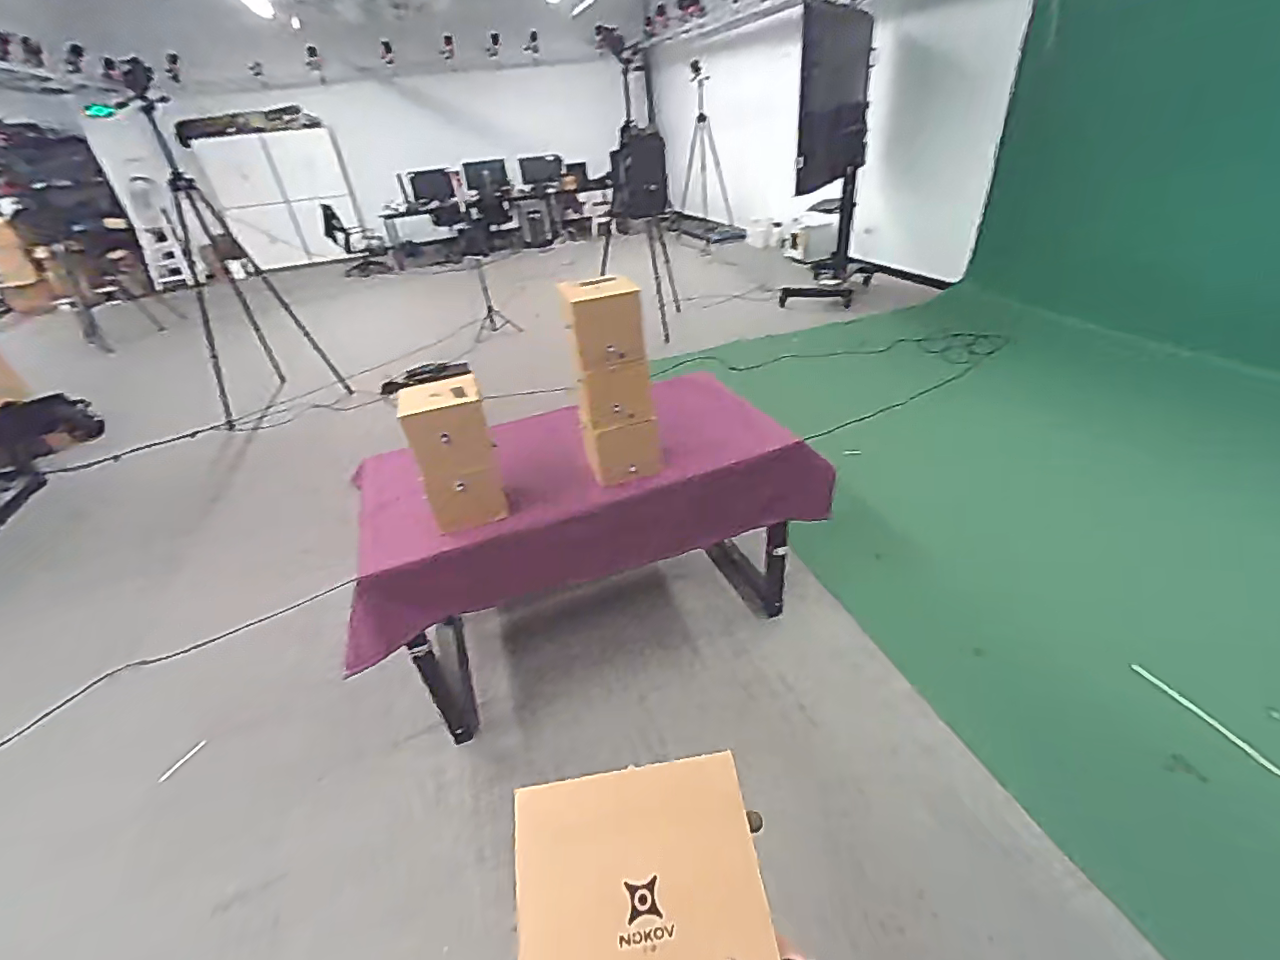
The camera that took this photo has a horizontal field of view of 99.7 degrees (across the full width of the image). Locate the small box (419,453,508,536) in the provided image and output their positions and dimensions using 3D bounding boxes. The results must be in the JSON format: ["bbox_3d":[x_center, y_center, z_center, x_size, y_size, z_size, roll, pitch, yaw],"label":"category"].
[{"bbox_3d":[-0.448,0.019,1.376,0.179,0.176,0.168,-14,35,-13],"label":"small box"}]

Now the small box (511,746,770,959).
[{"bbox_3d":[-0.003,0.332,0.424,0.168,0.176,0.179,-8,54,-5],"label":"small box"}]

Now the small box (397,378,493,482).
[{"bbox_3d":[-0.458,-0.120,1.289,0.179,0.176,0.168,-16,35,-12],"label":"small box"}]

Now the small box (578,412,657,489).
[{"bbox_3d":[-0.059,-0.100,1.487,0.179,0.176,0.168,-15,34,-14],"label":"small box"}]

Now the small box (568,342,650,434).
[{"bbox_3d":[-0.080,-0.240,1.406,0.168,0.176,0.179,-16,35,-13],"label":"small box"}]
